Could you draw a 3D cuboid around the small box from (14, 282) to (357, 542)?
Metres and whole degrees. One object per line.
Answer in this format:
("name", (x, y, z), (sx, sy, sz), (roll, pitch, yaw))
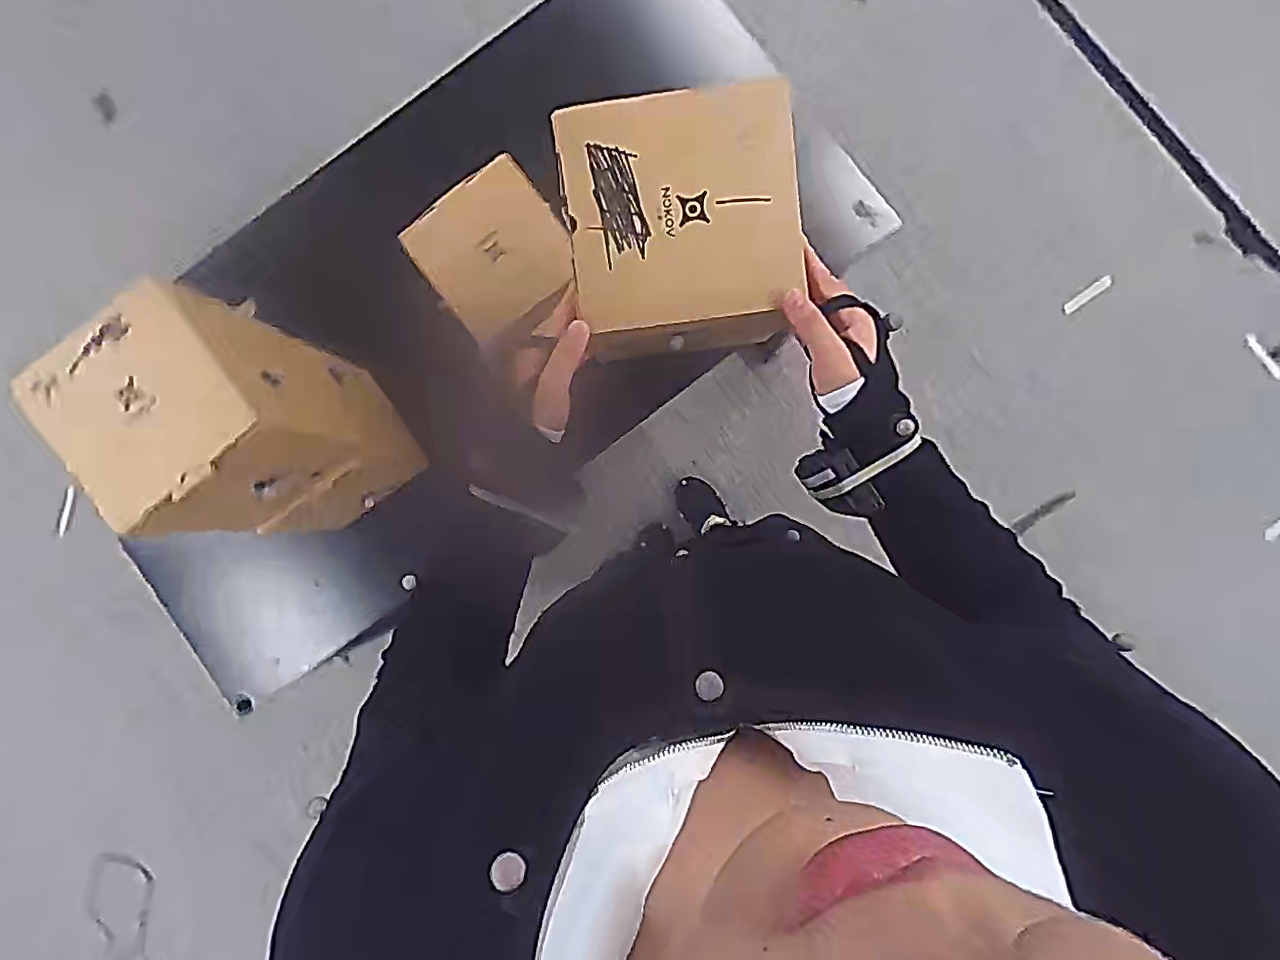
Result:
("small box", (-0.439, -0.060, 0.557), (0.168, 0.176, 0.179), (-39, 88, 0))

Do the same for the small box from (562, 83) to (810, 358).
("small box", (0.038, -0.207, 0.482), (0.179, 0.176, 0.168), (-6, 96, 2))

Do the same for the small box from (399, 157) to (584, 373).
("small box", (-0.173, -0.270, 0.722), (0.168, 0.176, 0.179), (-39, 88, 1))

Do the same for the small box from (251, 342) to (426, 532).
("small box", (-0.427, -0.047, 0.720), (0.168, 0.176, 0.179), (-36, 87, 0))
